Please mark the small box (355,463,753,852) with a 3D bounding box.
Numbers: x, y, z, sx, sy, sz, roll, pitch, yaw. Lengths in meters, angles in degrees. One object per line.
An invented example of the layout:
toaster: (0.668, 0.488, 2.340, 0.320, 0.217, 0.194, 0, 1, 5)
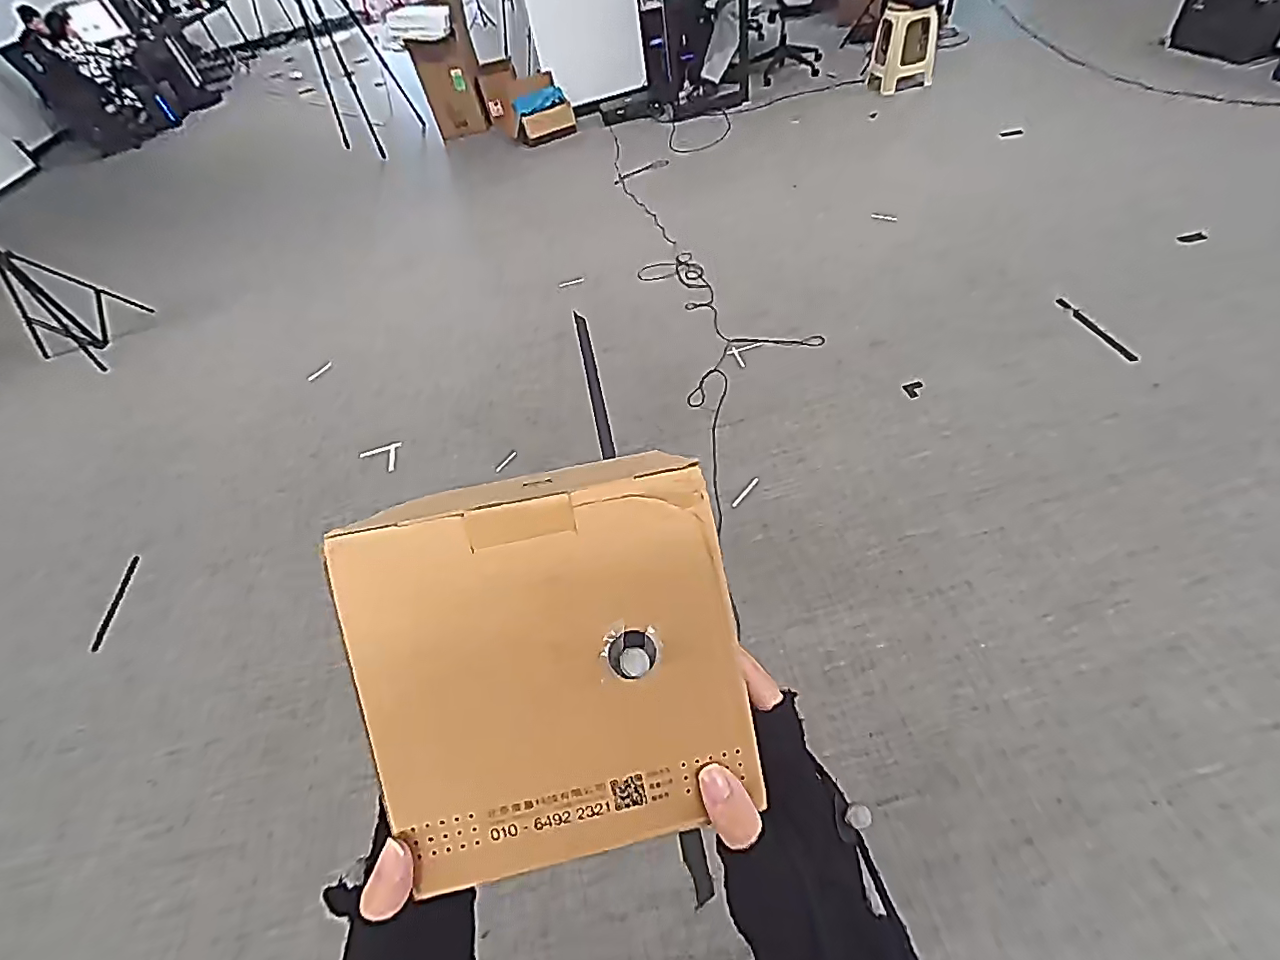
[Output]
small box: (-0.039, 0.092, 0.336, 0.168, 0.176, 0.179, -11, 5, -3)
